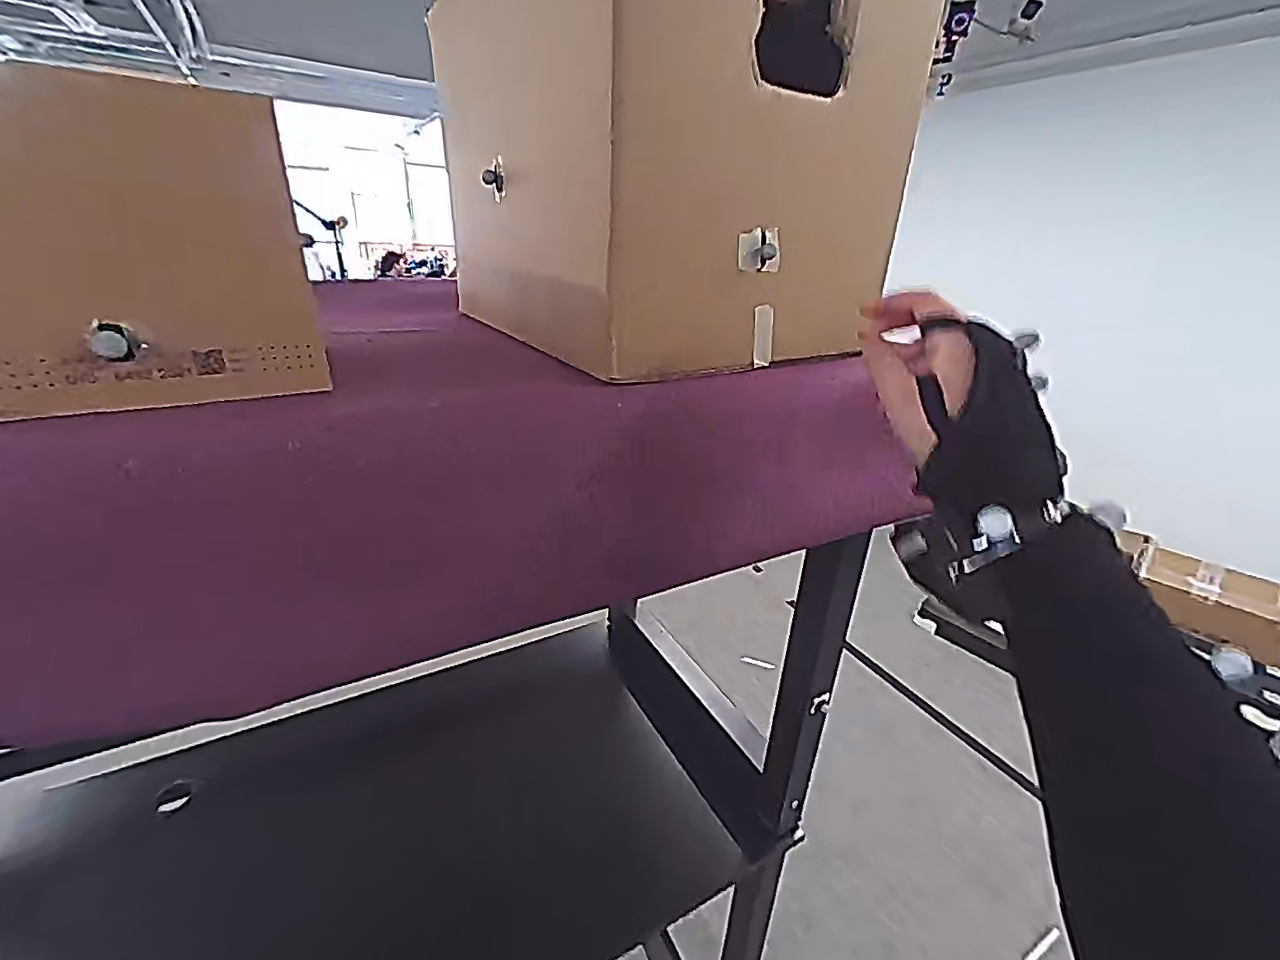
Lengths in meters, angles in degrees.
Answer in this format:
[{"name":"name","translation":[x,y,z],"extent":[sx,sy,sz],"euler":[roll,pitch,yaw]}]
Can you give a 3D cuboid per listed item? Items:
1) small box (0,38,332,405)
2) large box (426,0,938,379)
[{"name":"small box","translation":[-0.312,-0.154,0.348],"extent":[0.168,0.176,0.179],"euler":[-13,29,-30]},{"name":"large box","translation":[0.007,-0.307,0.555],"extent":[0.320,0.320,0.408],"euler":[-13,28,-30]}]
